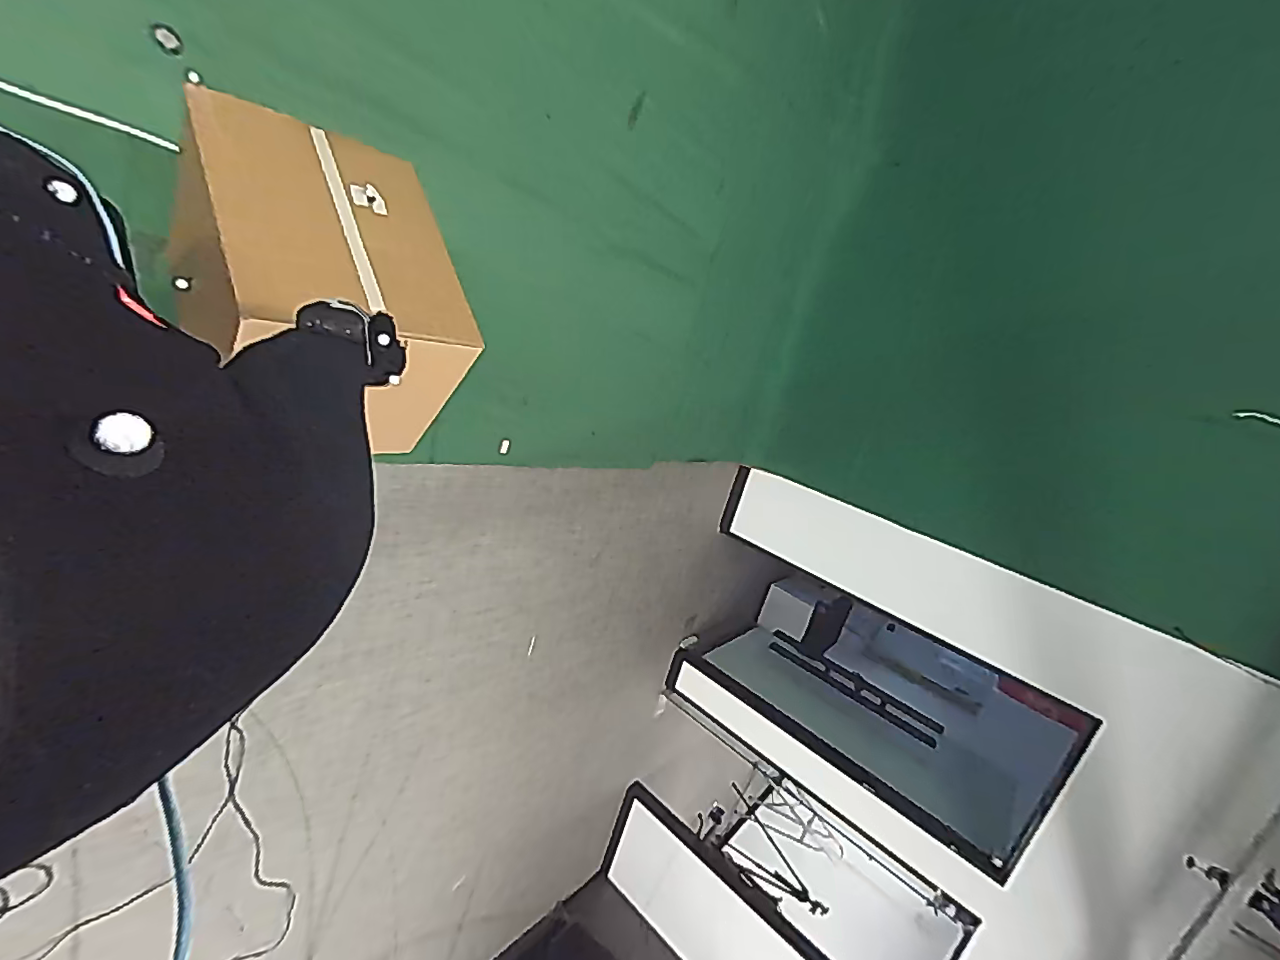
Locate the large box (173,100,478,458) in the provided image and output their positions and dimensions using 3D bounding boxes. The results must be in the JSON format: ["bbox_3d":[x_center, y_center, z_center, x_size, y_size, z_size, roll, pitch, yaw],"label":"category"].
[{"bbox_3d":[-0.526,-0.288,0.885,0.320,0.408,0.320,-6,154,-48],"label":"large box"}]
